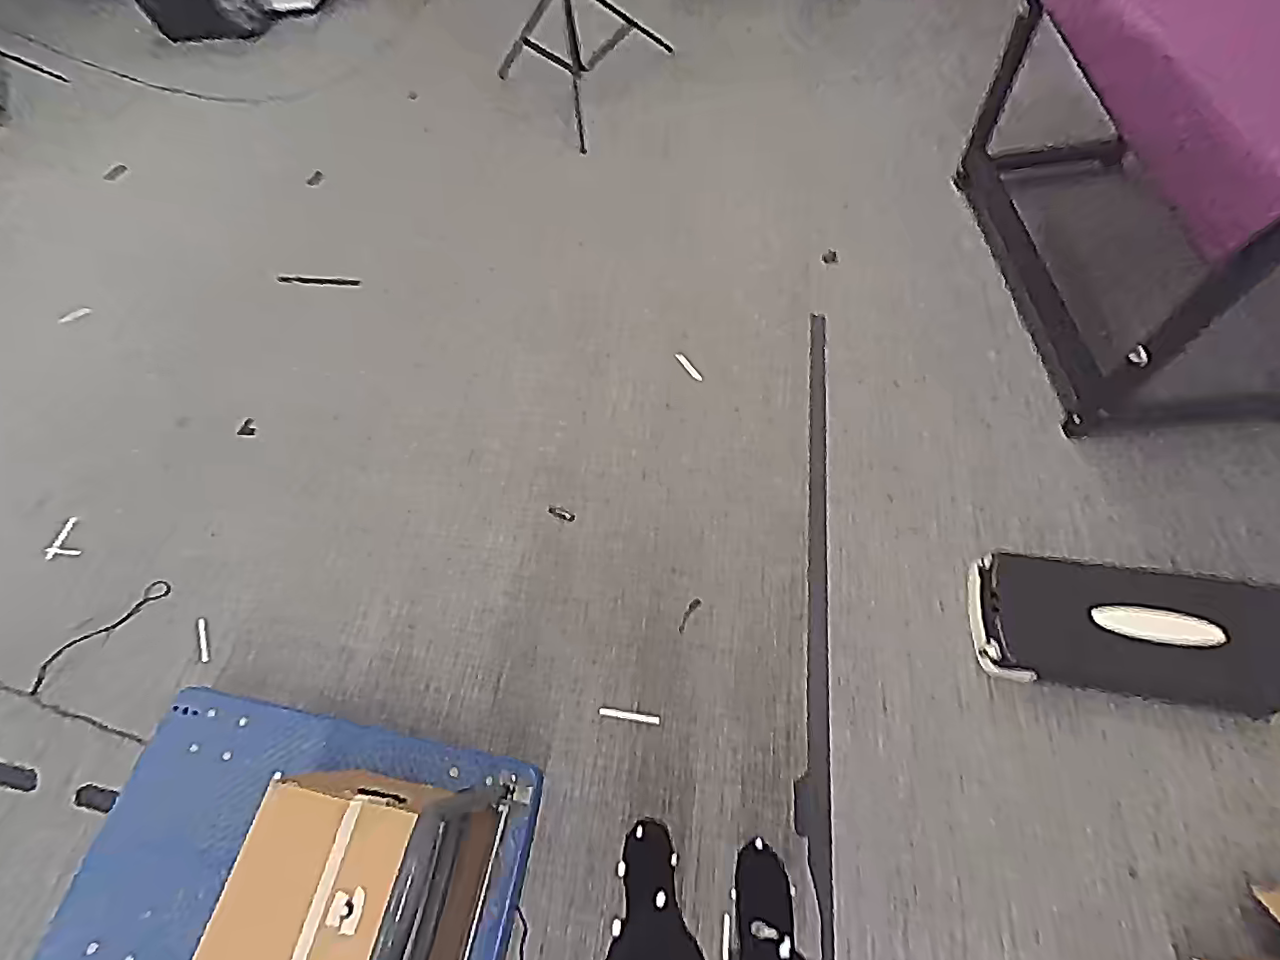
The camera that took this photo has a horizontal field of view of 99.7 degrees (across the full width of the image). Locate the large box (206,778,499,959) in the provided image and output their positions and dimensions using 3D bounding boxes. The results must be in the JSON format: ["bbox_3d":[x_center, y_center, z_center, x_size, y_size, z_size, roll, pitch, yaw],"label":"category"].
[{"bbox_3d":[-0.479,0.768,0.925,0.320,0.320,0.408,10,63,6],"label":"large box"}]
